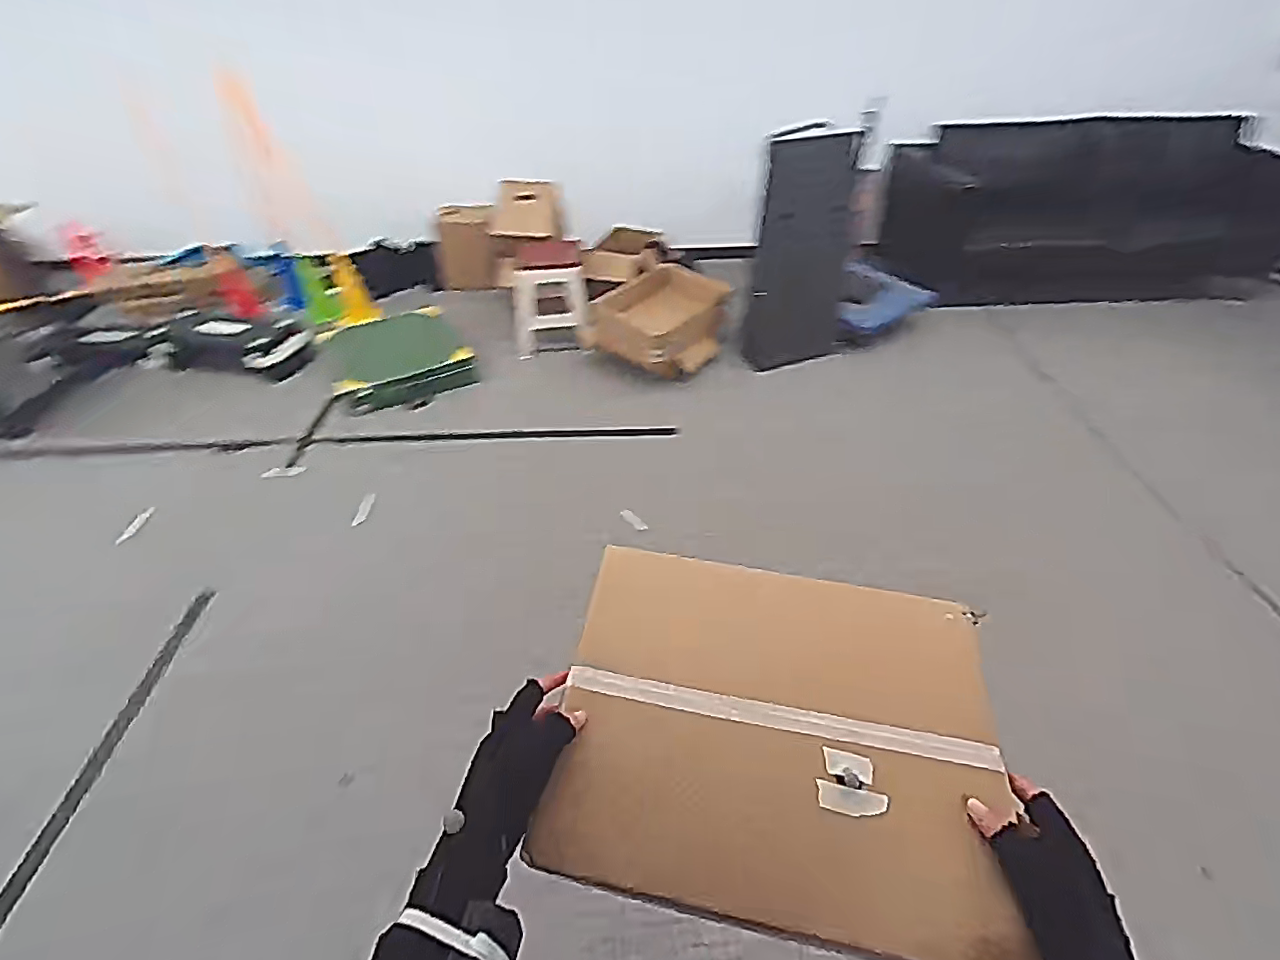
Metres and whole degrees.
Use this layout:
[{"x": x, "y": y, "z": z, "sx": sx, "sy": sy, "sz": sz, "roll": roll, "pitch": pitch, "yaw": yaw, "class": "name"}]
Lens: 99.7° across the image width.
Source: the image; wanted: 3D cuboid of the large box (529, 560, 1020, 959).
[{"x": 0.122, "y": 0.327, "z": 0.642, "sx": 0.408, "sy": 0.320, "sz": 0.320, "roll": 8, "pitch": 52, "yaw": 6, "class": "large box"}]
